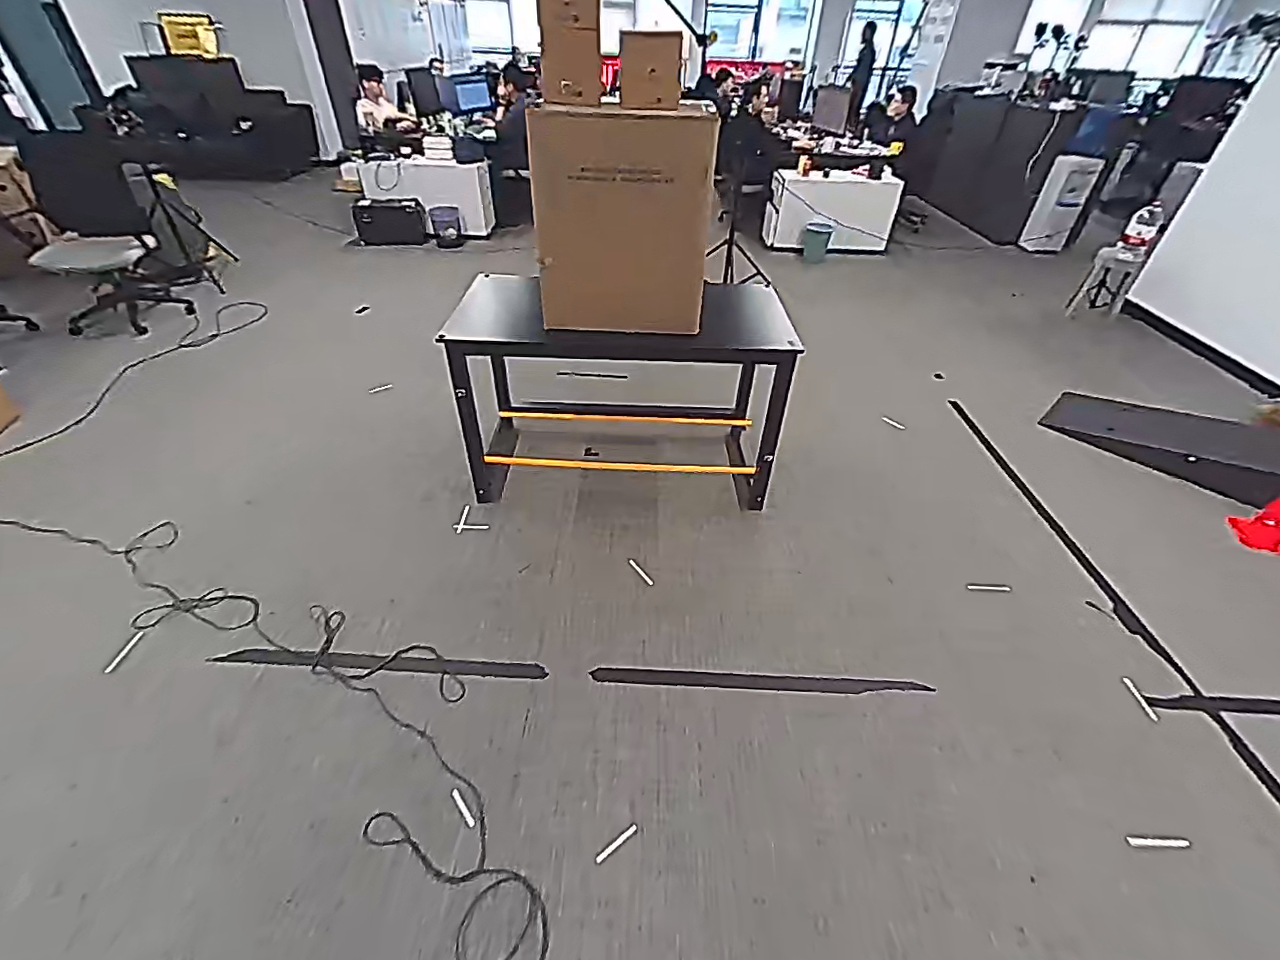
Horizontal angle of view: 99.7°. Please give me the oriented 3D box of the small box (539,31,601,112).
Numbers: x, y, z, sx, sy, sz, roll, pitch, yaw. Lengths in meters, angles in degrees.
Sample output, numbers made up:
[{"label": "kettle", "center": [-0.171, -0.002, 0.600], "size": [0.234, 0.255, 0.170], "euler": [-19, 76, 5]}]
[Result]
[{"label": "small box", "center": [-0.194, -1.159, 1.531], "size": [0.168, 0.176, 0.179], "euler": [-2, 41, -5]}]

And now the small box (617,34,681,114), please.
[{"label": "small box", "center": [0.022, -1.133, 1.510], "size": [0.168, 0.176, 0.179], "euler": [-2, 41, -4]}]

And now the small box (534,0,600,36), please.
[{"label": "small box", "center": [-0.190, -1.285, 1.424], "size": [0.168, 0.176, 0.179], "euler": [0, 40, -3]}]
